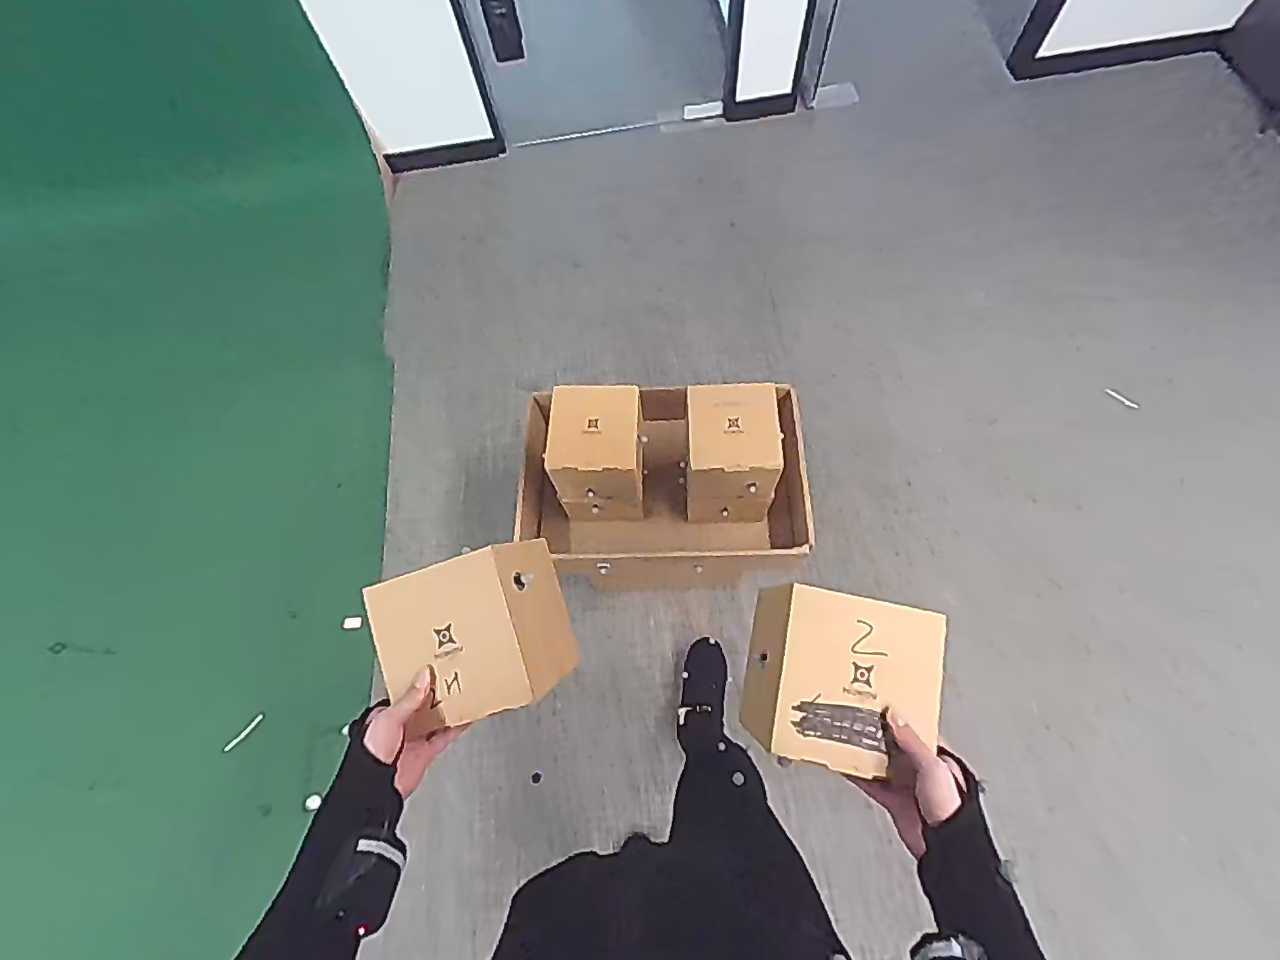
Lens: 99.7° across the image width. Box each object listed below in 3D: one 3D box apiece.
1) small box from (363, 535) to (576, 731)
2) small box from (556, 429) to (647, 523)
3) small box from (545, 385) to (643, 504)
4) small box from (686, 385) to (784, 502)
[{"bbox_3d":[-0.195,0.171,0.658,0.168,0.176,0.179,-18,84,9],"label":"small box"},{"bbox_3d":[-0.079,-0.007,1.212,0.179,0.176,0.168,1,67,3],"label":"small box"},{"bbox_3d":[-0.081,-0.066,1.059,0.168,0.176,0.179,1,67,3],"label":"small box"},{"bbox_3d":[0.174,-0.064,1.039,0.168,0.176,0.179,0,66,3],"label":"small box"}]
